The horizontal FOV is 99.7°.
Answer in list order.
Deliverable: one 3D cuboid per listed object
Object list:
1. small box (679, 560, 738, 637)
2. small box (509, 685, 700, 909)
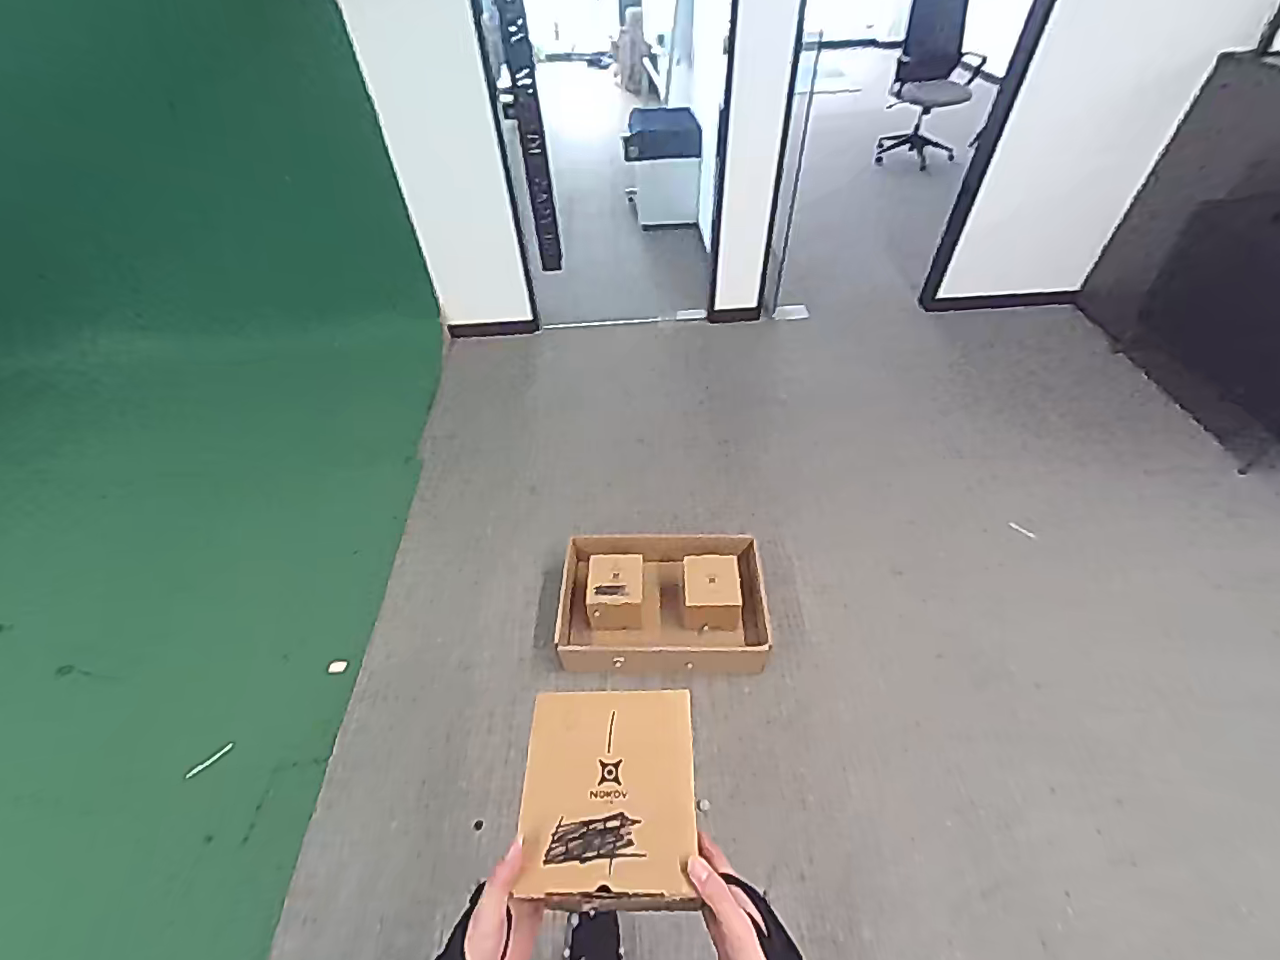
[{"bbox_3d":[0.207,0.366,1.672,0.168,0.176,0.179,-1,47,2],"label":"small box"},{"bbox_3d":[-0.023,0.334,0.568,0.168,0.176,0.179,-2,46,3],"label":"small box"}]
